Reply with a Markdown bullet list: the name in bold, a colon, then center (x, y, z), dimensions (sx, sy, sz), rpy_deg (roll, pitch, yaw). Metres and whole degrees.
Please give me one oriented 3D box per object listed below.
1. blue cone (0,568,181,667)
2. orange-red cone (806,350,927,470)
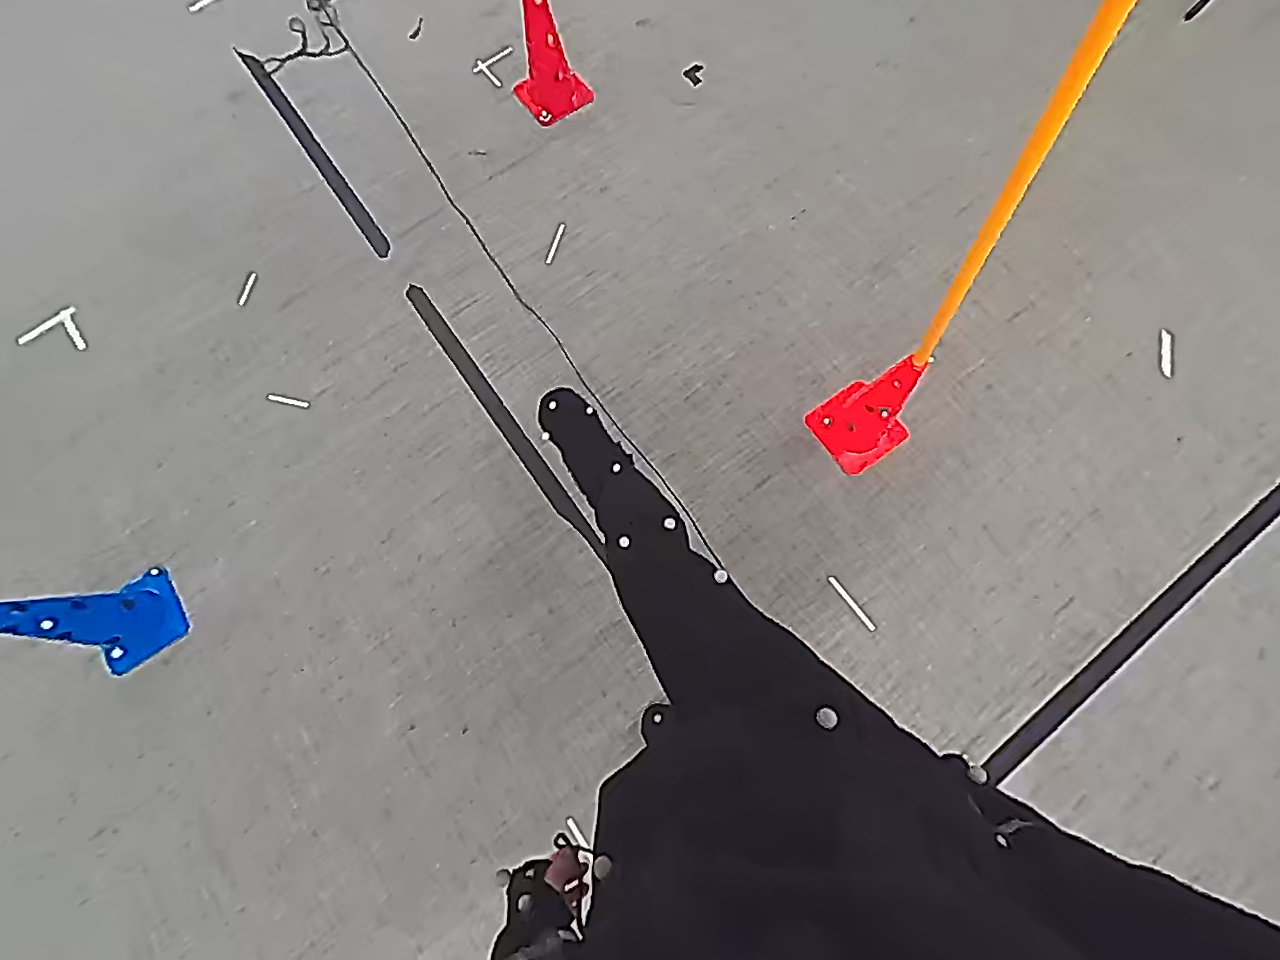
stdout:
- **blue cone**: center (-1.241, 0.293, 1.168), dimensions (0.193, 0.380, 0.192), rpy_deg (-33, 75, -7)
- **orange-red cone**: center (0.542, -0.188, 1.205), dimensions (0.198, 0.360, 0.199), rpy_deg (-33, 77, -6)
